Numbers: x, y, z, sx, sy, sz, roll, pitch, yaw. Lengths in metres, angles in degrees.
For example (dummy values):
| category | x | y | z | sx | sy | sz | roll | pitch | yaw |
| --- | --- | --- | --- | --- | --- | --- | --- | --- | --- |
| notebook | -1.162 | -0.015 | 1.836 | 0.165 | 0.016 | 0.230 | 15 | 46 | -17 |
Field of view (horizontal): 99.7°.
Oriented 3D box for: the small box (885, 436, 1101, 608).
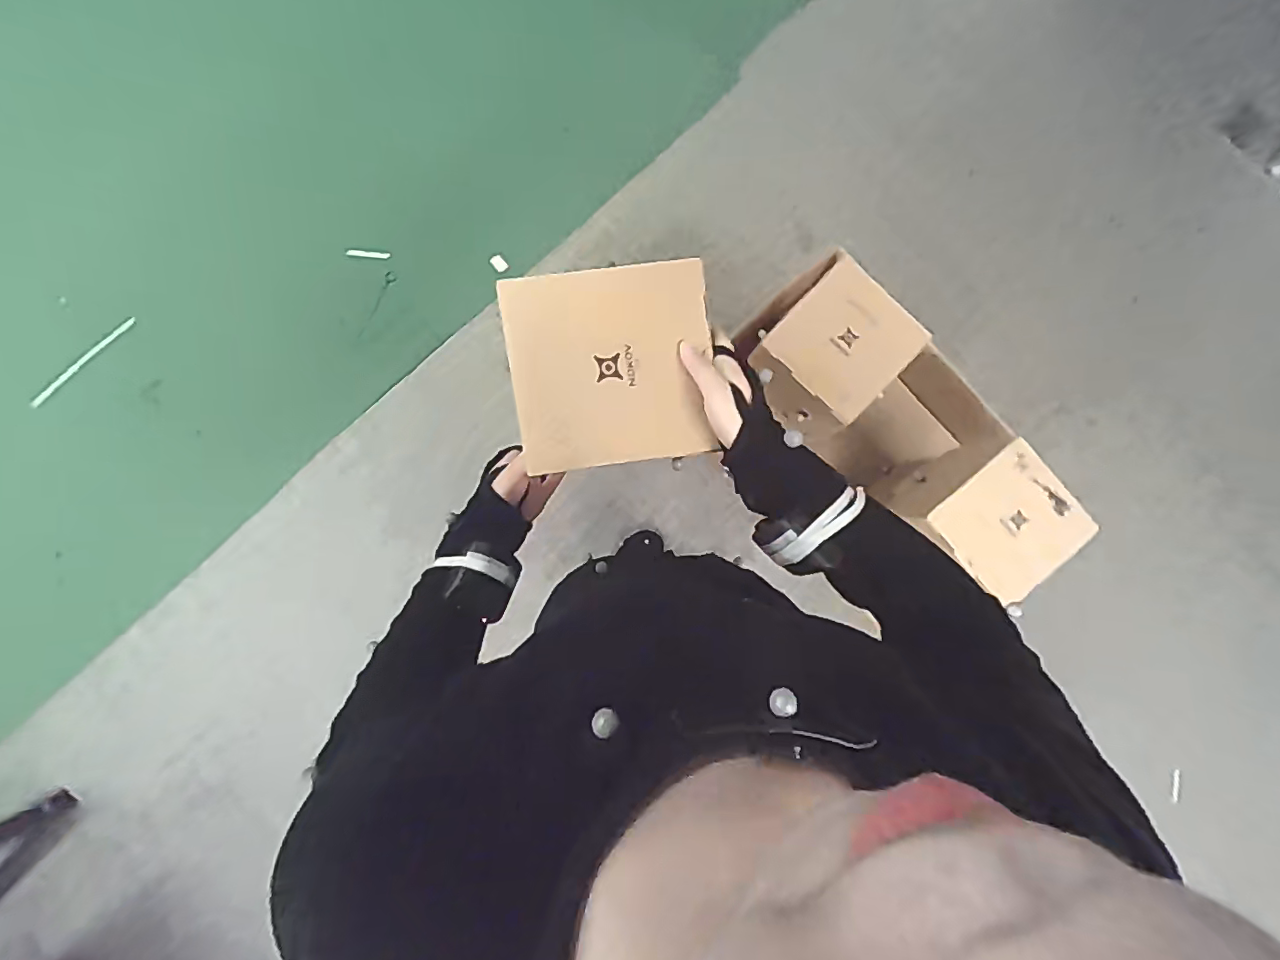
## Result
| category | x | y | z | sx | sy | sz | roll | pitch | yaw |
| --- | --- | --- | --- | --- | --- | --- | --- | --- | --- |
| small box | 0.493 | 0.058 | 0.794 | 0.179 | 0.176 | 0.168 | -38 | 89 | -1 |

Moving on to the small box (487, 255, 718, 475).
| category | x | y | z | sx | sy | sz | roll | pitch | yaw |
| --- | --- | --- | --- | --- | --- | --- | --- | --- | --- |
| small box | -0.035 | -0.103 | 0.534 | 0.179 | 0.176 | 0.168 | -10 | 97 | -4 |

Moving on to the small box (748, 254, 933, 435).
| category | x | y | z | sx | sy | sz | roll | pitch | yaw |
| --- | --- | --- | --- | --- | --- | --- | --- | --- | --- |
| small box | 0.279 | -0.187 | 0.805 | 0.168 | 0.176 | 0.179 | 45 | 87 | 1 |
